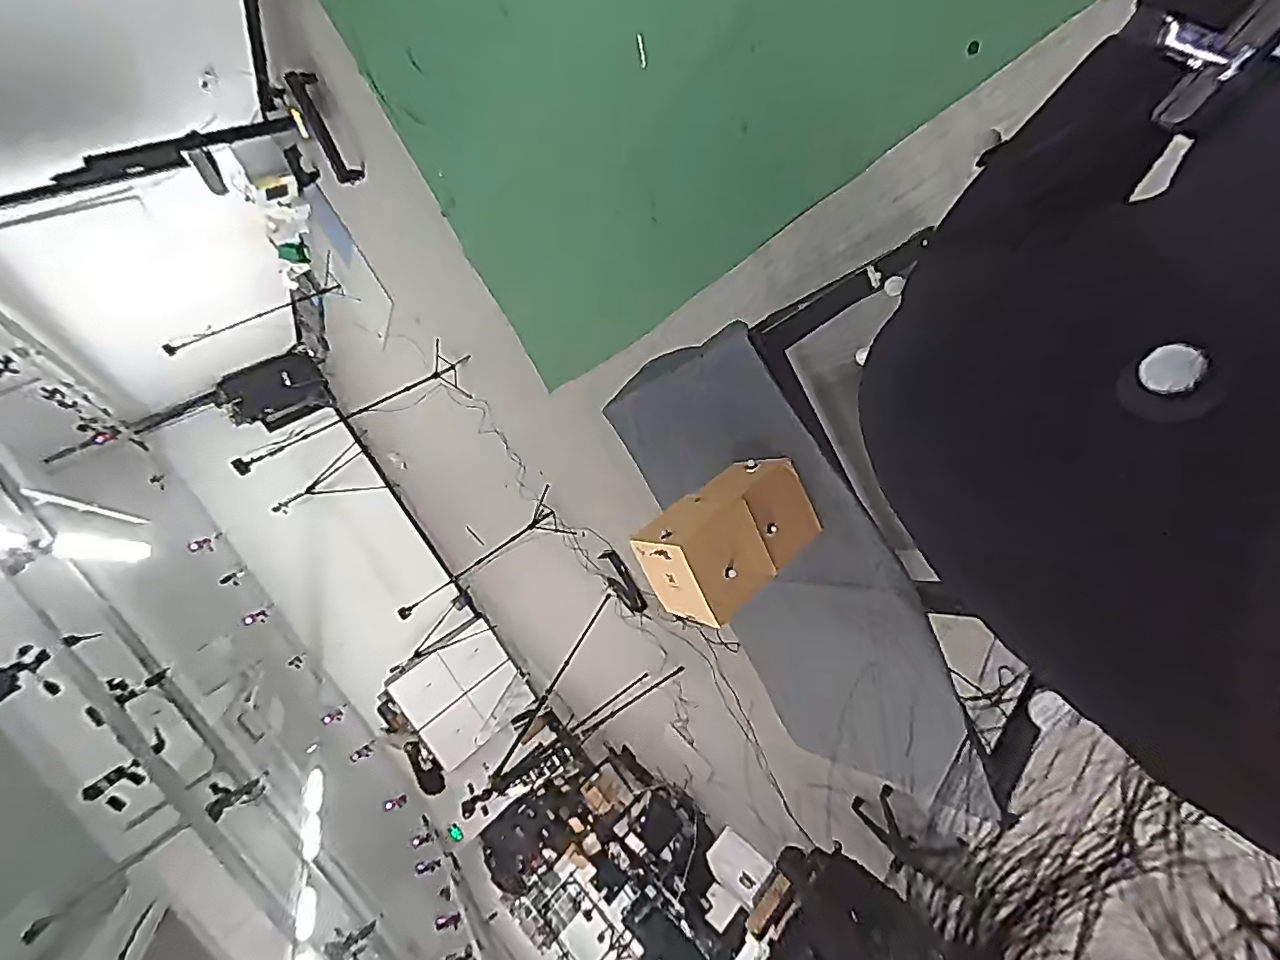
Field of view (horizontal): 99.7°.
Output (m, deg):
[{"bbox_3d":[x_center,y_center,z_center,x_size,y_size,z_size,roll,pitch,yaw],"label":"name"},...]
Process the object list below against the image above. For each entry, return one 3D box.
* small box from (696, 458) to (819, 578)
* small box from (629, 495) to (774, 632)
[{"bbox_3d":[0.232,0.075,1.098,0.168,0.176,0.179,-8,113,57],"label":"small box"},{"bbox_3d":[0.118,0.147,1.002,0.168,0.176,0.179,-3,119,56],"label":"small box"}]
